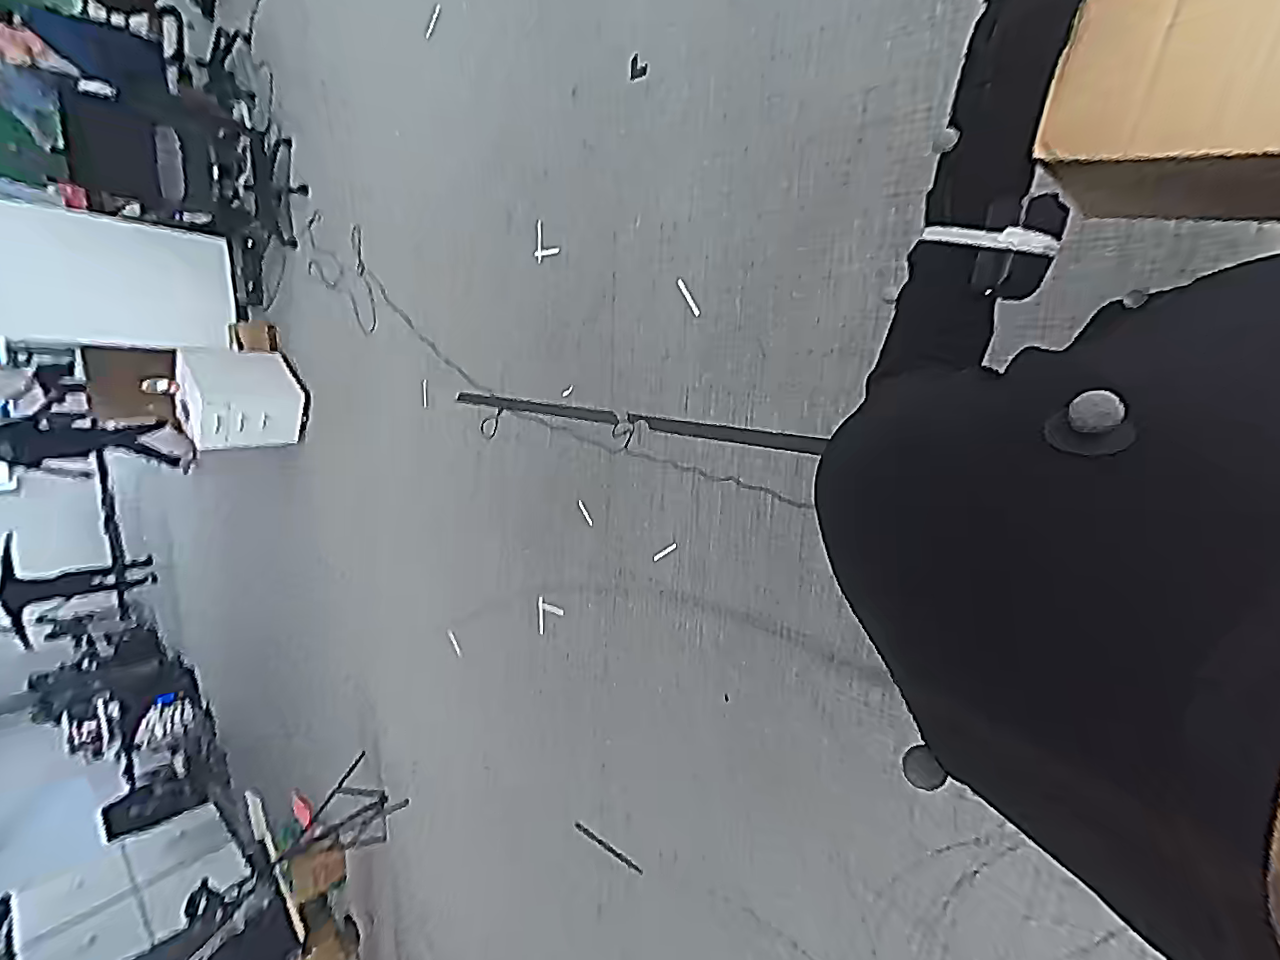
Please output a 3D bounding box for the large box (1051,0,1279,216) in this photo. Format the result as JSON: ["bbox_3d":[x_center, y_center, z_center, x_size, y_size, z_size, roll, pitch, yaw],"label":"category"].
[{"bbox_3d":[0.531,-0.333,0.296,0.408,0.320,0.320,24,119,37],"label":"large box"}]
